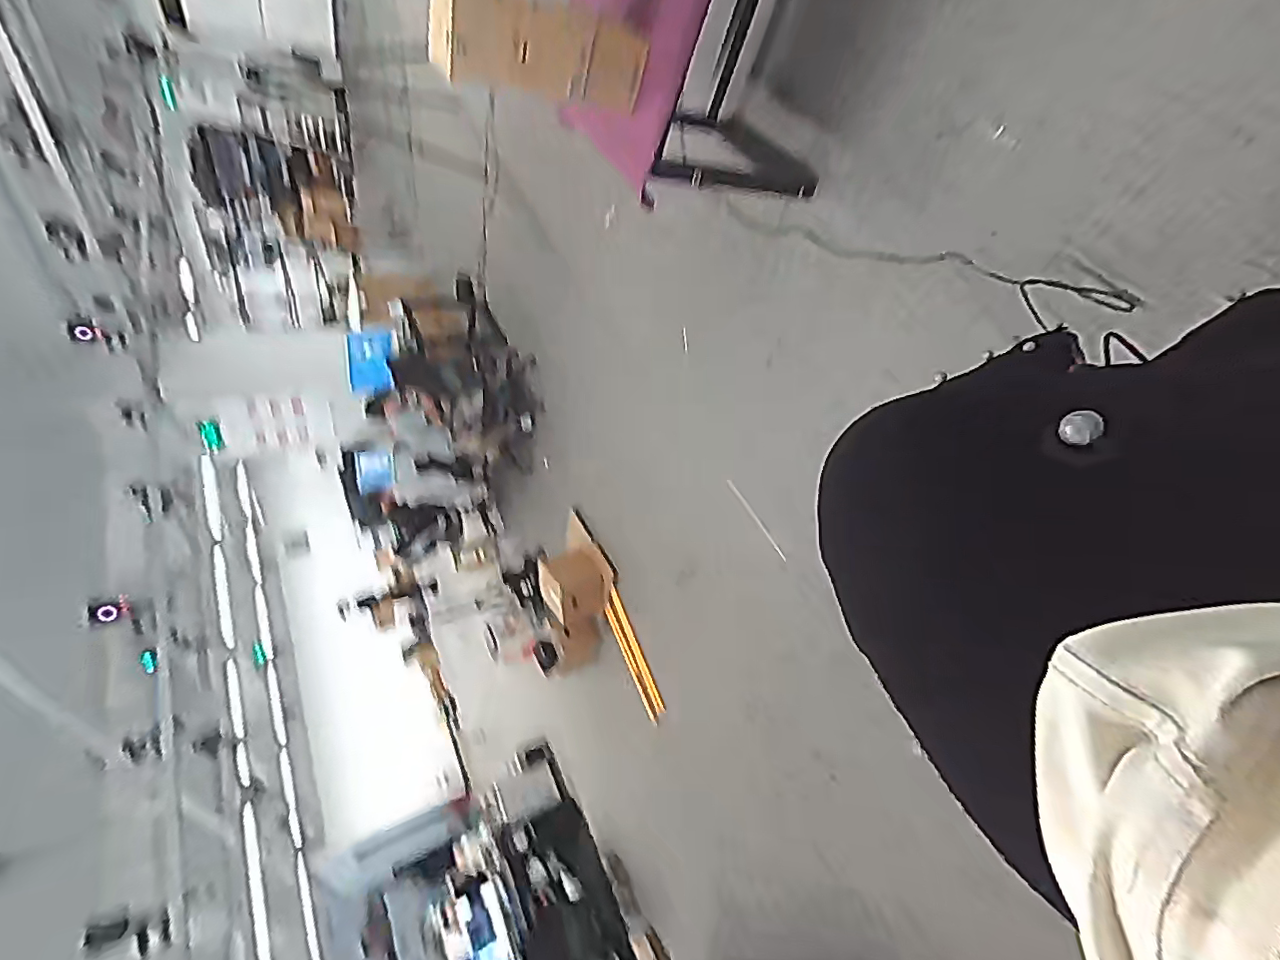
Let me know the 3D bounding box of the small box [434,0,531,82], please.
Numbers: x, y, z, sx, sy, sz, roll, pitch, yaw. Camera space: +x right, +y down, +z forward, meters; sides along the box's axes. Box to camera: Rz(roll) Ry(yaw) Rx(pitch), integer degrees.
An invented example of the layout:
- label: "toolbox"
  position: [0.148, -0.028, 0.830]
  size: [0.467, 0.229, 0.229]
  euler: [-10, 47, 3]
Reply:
- label: "small box"
  position: [-0.364, -1.048, 1.242]
  size: [0.179, 0.176, 0.168]
  euler: [59, 145, 30]

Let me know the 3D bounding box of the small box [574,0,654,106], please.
- label: "small box"
  position: [-0.090, -1.109, 1.410]
  size: [0.179, 0.176, 0.168]
  euler: [58, 144, 29]

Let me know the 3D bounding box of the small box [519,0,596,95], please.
- label: "small box"
  position: [-0.224, -1.073, 1.322]
  size: [0.179, 0.176, 0.168]
  euler: [59, 145, 30]
